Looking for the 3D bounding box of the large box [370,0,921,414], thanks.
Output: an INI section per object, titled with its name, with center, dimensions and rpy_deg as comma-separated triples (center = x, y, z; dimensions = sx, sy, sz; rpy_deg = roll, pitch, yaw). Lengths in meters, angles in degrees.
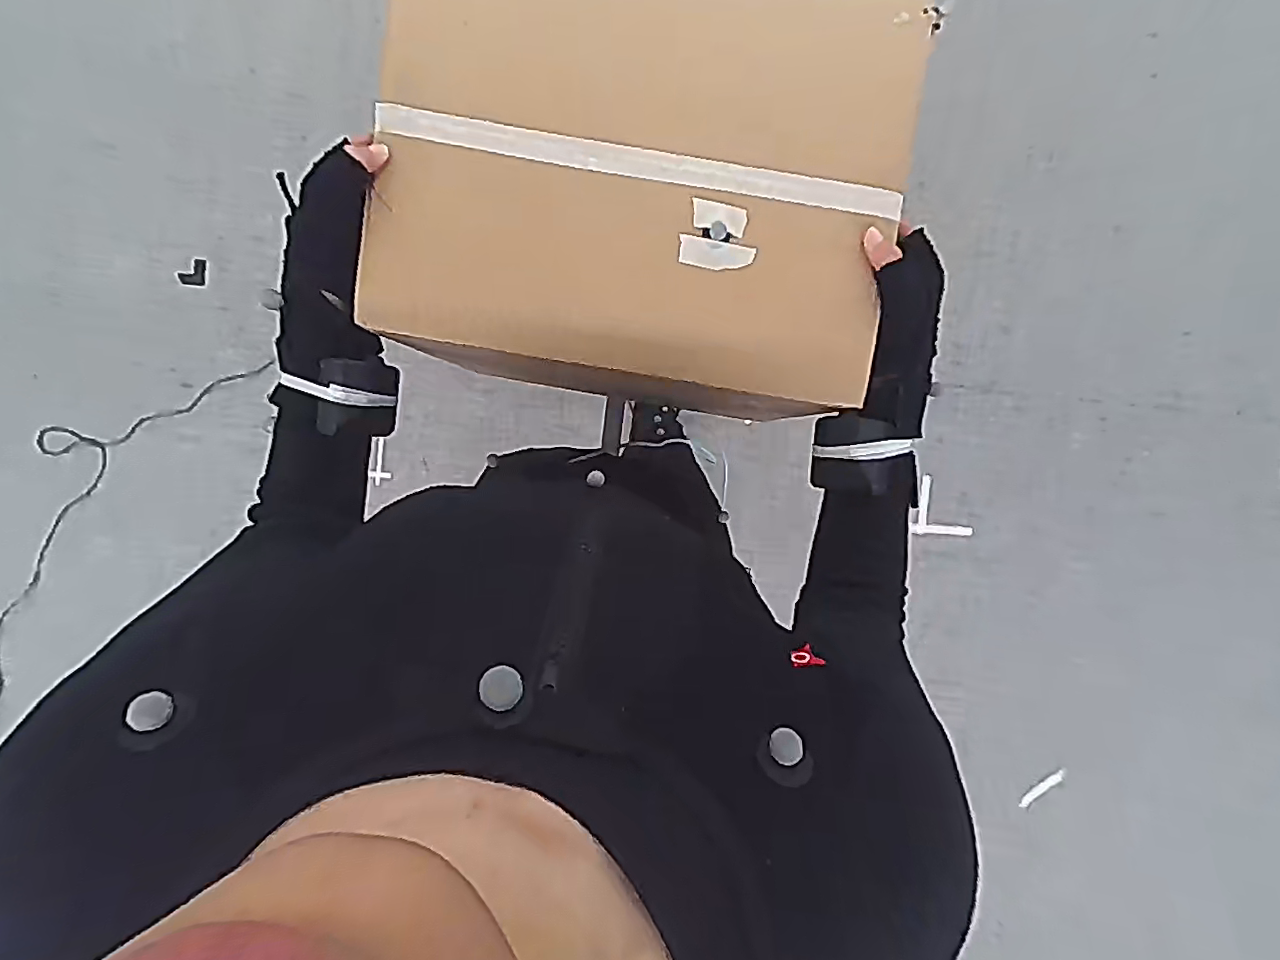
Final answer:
[large box]
center = -0.004, -0.255, 0.572
dimensions = 0.408, 0.320, 0.320
rpy_deg = 9, 95, -2
